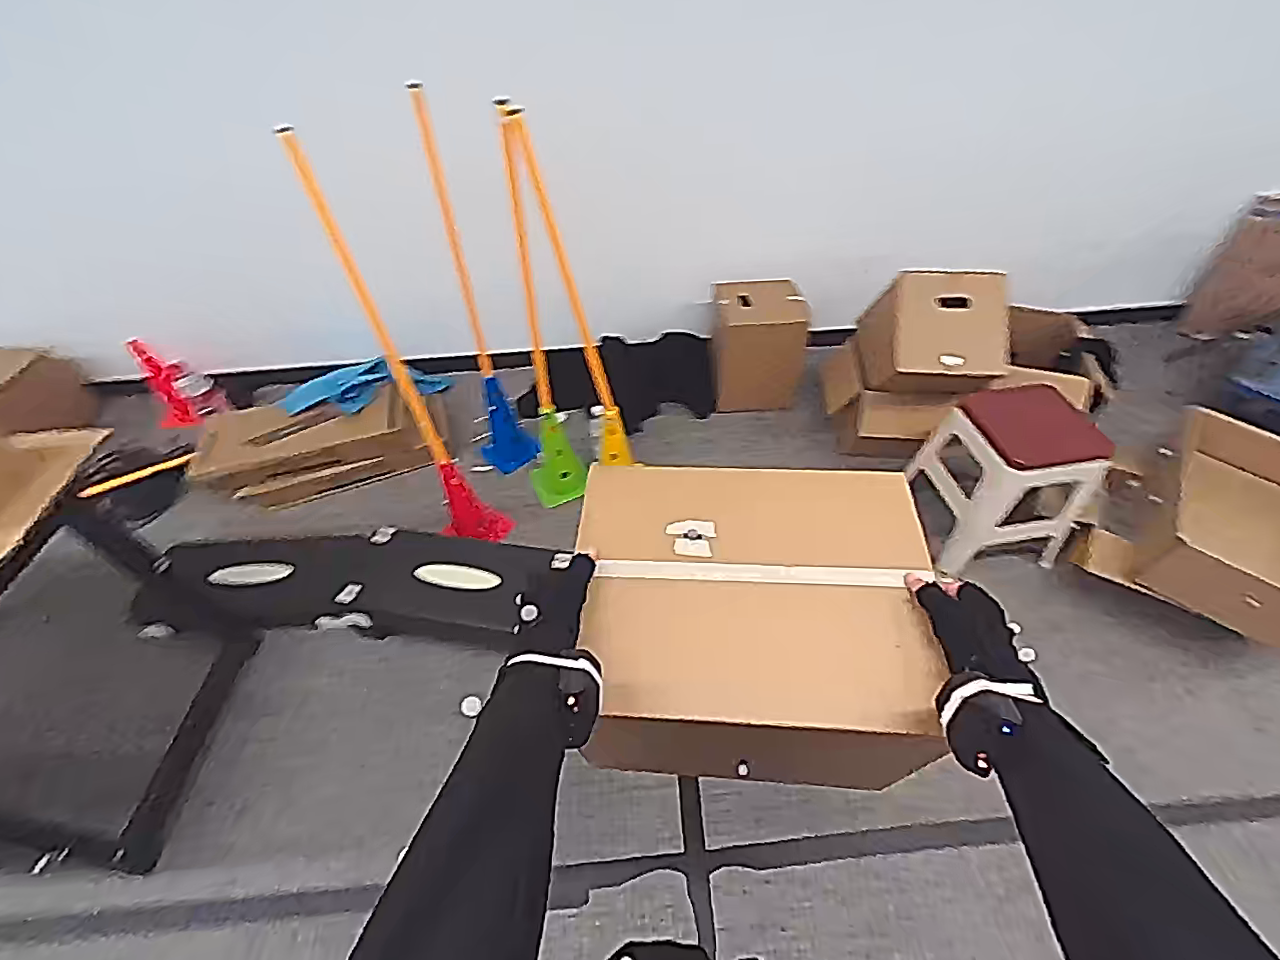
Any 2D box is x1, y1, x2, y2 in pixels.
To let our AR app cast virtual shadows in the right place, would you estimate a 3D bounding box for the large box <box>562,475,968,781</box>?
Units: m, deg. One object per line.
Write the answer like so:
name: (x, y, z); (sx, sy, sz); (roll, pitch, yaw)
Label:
large box: (0.139, 0.207, 0.738); (0.408, 0.320, 0.320); (1, 52, 6)
